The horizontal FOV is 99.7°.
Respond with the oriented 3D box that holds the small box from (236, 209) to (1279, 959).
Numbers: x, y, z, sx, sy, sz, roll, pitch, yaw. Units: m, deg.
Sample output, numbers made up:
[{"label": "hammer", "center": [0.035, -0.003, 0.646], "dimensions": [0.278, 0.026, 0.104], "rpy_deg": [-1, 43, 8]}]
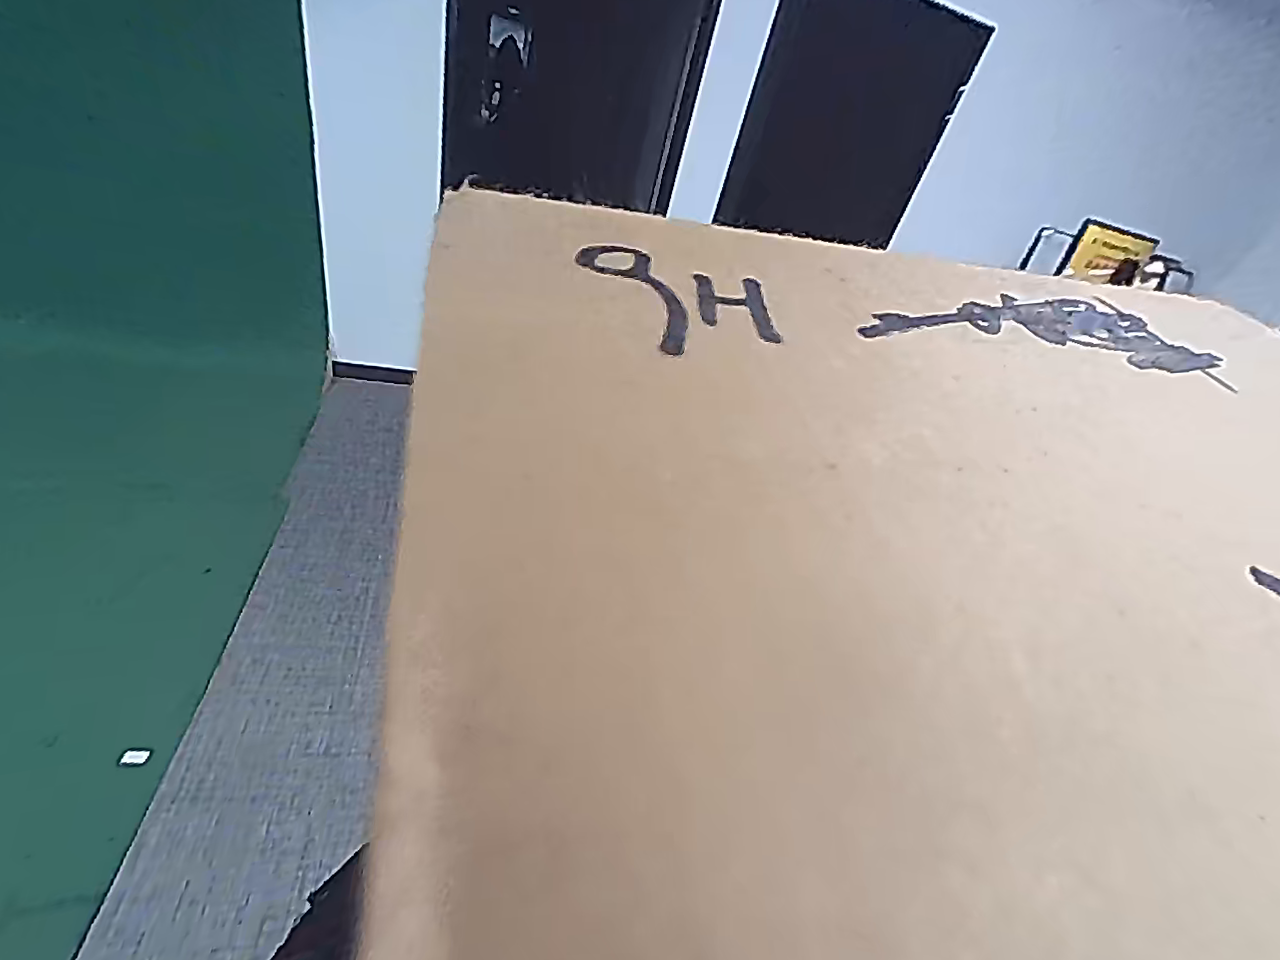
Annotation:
[{"label": "small box", "center": [0.043, 0.079, 0.103], "dimensions": [0.168, 0.176, 0.179], "rpy_deg": [1, 46, -16]}]
